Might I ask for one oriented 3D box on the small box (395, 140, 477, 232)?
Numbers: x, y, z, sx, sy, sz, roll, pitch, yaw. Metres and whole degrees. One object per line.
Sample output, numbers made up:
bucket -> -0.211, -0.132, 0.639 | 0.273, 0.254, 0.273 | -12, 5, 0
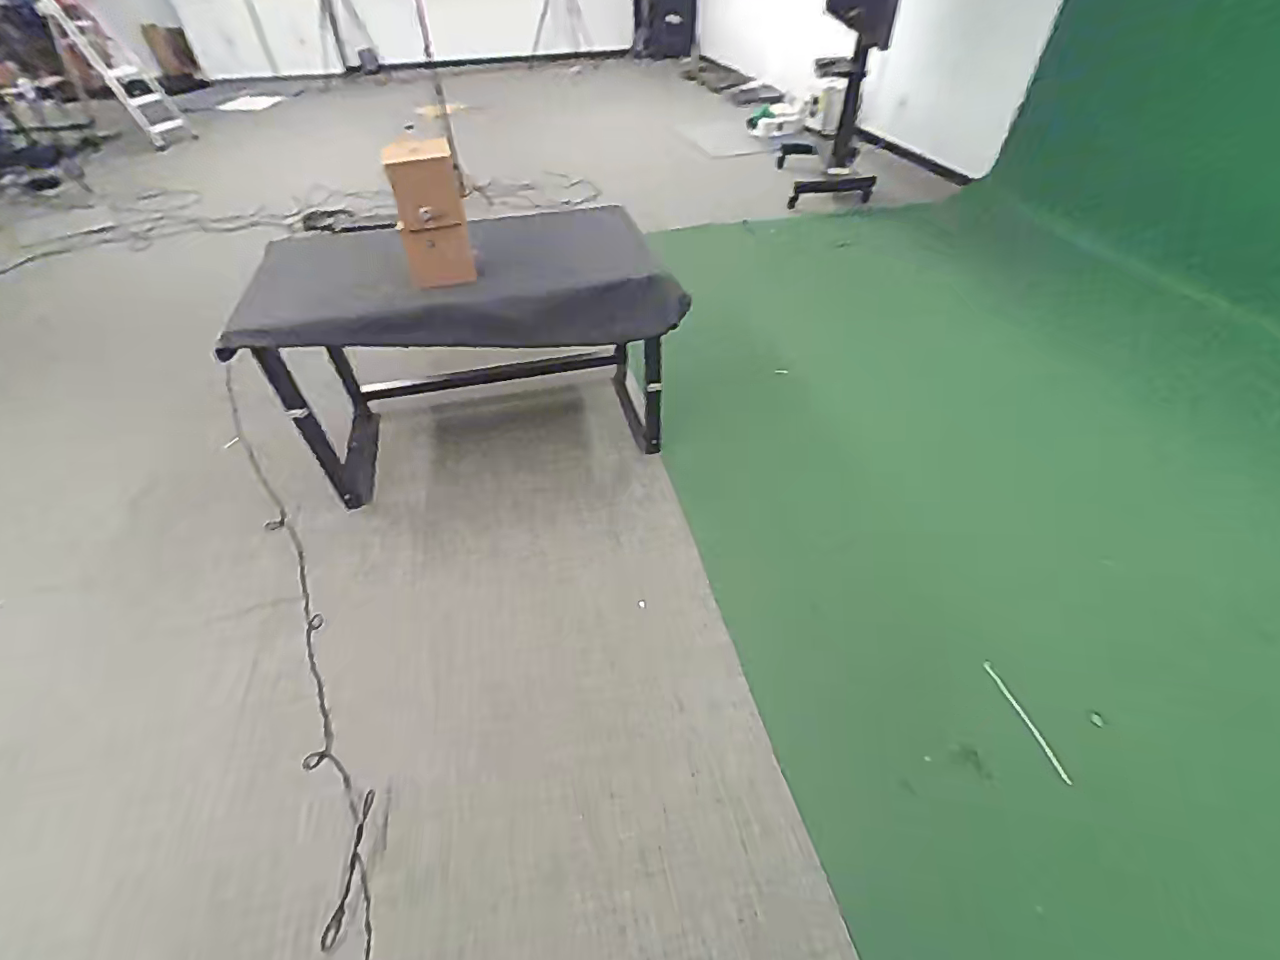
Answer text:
small box -> -0.550, -0.795, 1.463 | 0.168, 0.176, 0.179 | -16, 48, -11

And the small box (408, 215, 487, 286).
small box -> -0.557, -0.683, 1.580 | 0.179, 0.176, 0.168 | -11, 46, -9
